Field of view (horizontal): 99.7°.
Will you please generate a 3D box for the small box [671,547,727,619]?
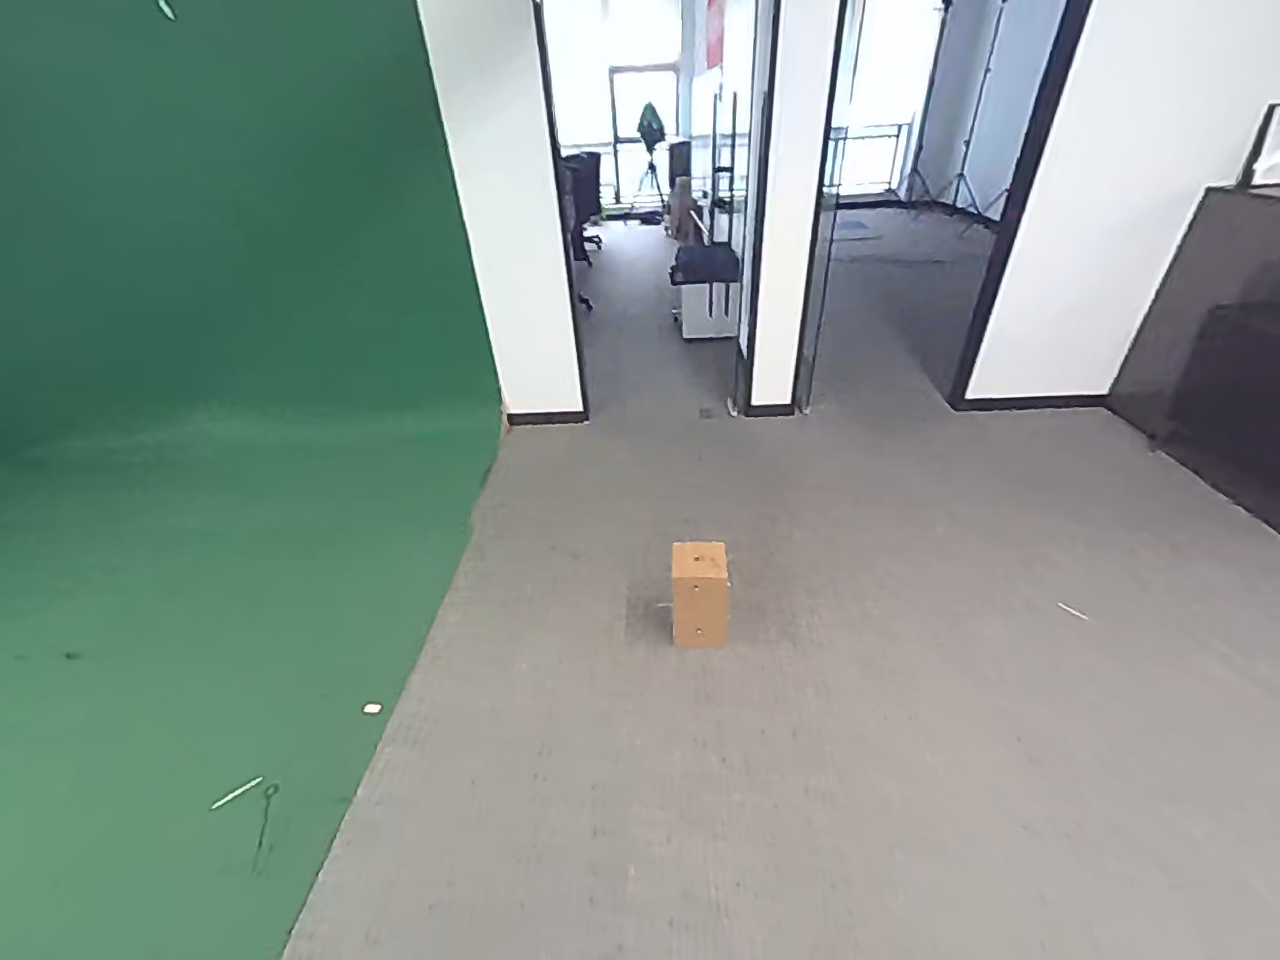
[{"bbox_3d":[0.195,0.339,1.774,0.179,0.176,0.168,0,35,6],"label":"small box"}]
